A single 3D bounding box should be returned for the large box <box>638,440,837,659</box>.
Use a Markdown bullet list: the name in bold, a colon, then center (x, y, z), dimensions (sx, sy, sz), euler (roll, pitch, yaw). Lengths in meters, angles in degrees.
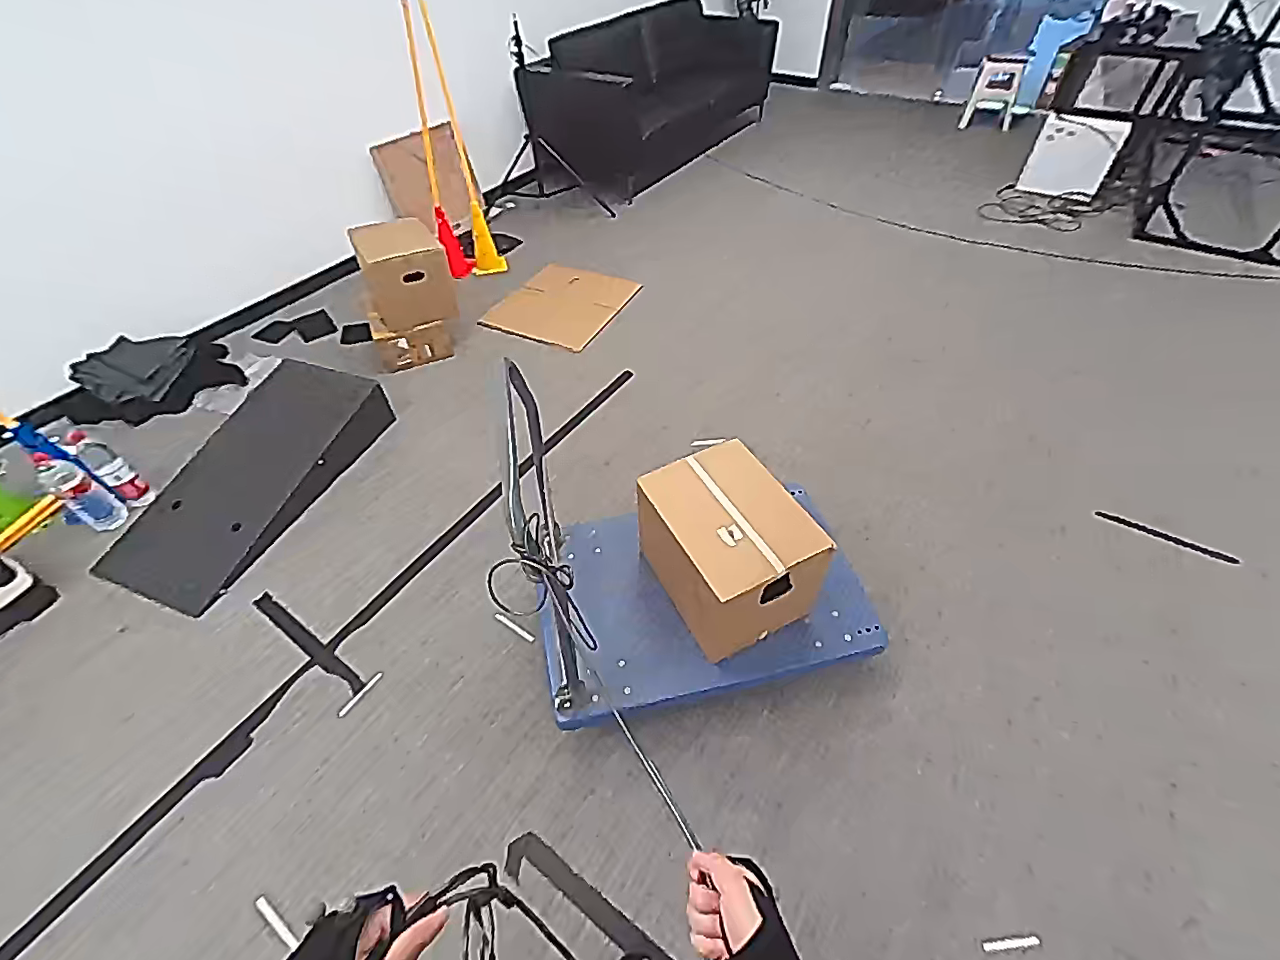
- **large box**: center (0.219, 0.171, 1.397), dimensions (0.320, 0.320, 0.408), euler (-23, 52, -16)
